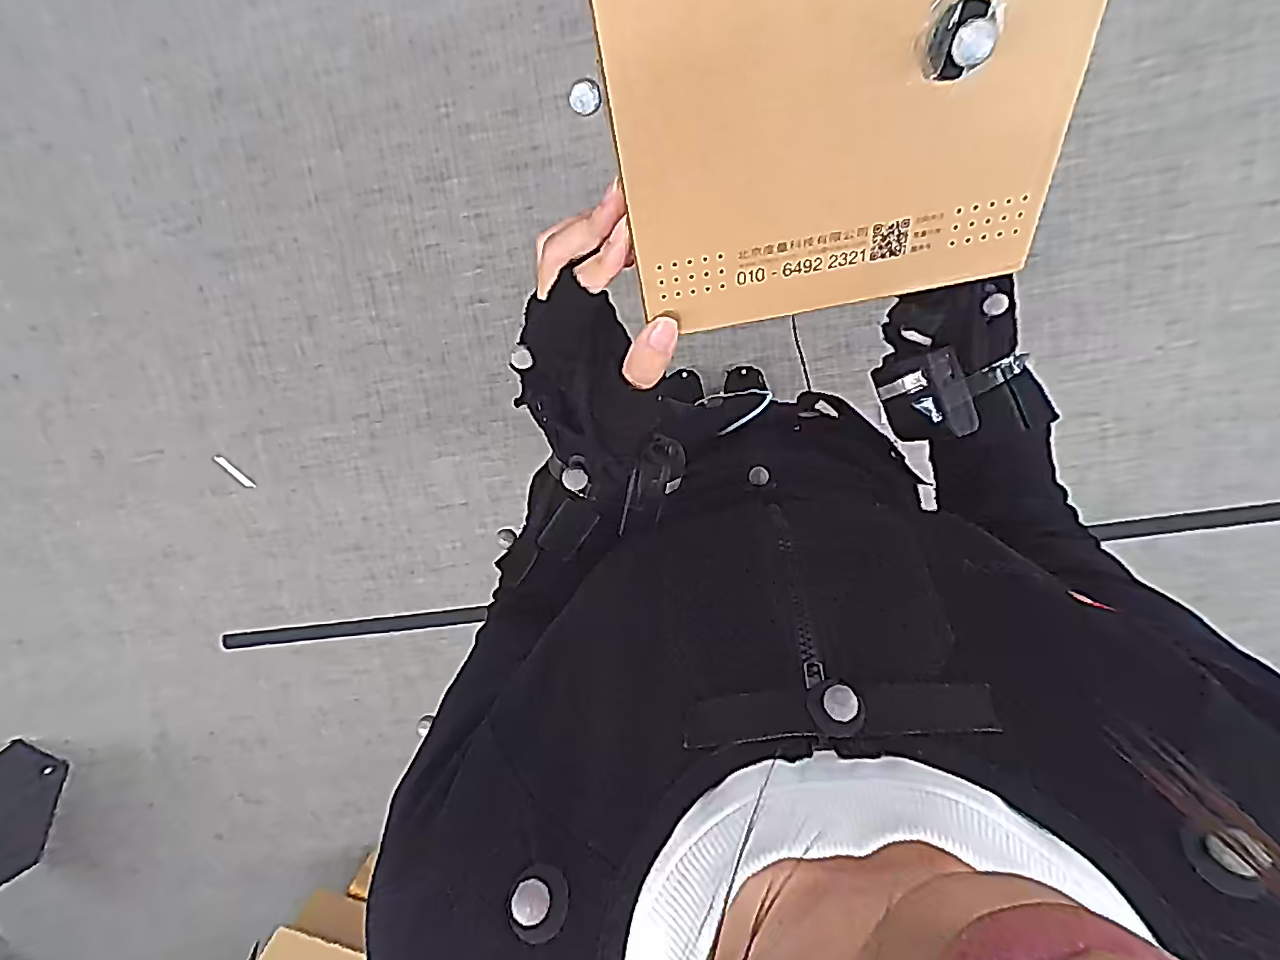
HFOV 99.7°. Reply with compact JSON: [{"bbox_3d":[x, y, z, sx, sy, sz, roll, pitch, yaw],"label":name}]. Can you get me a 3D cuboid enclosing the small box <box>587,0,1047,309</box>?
[{"bbox_3d":[0.068,-0.197,0.266,0.168,0.179,0.176,-9,132,5],"label":"small box"}]
